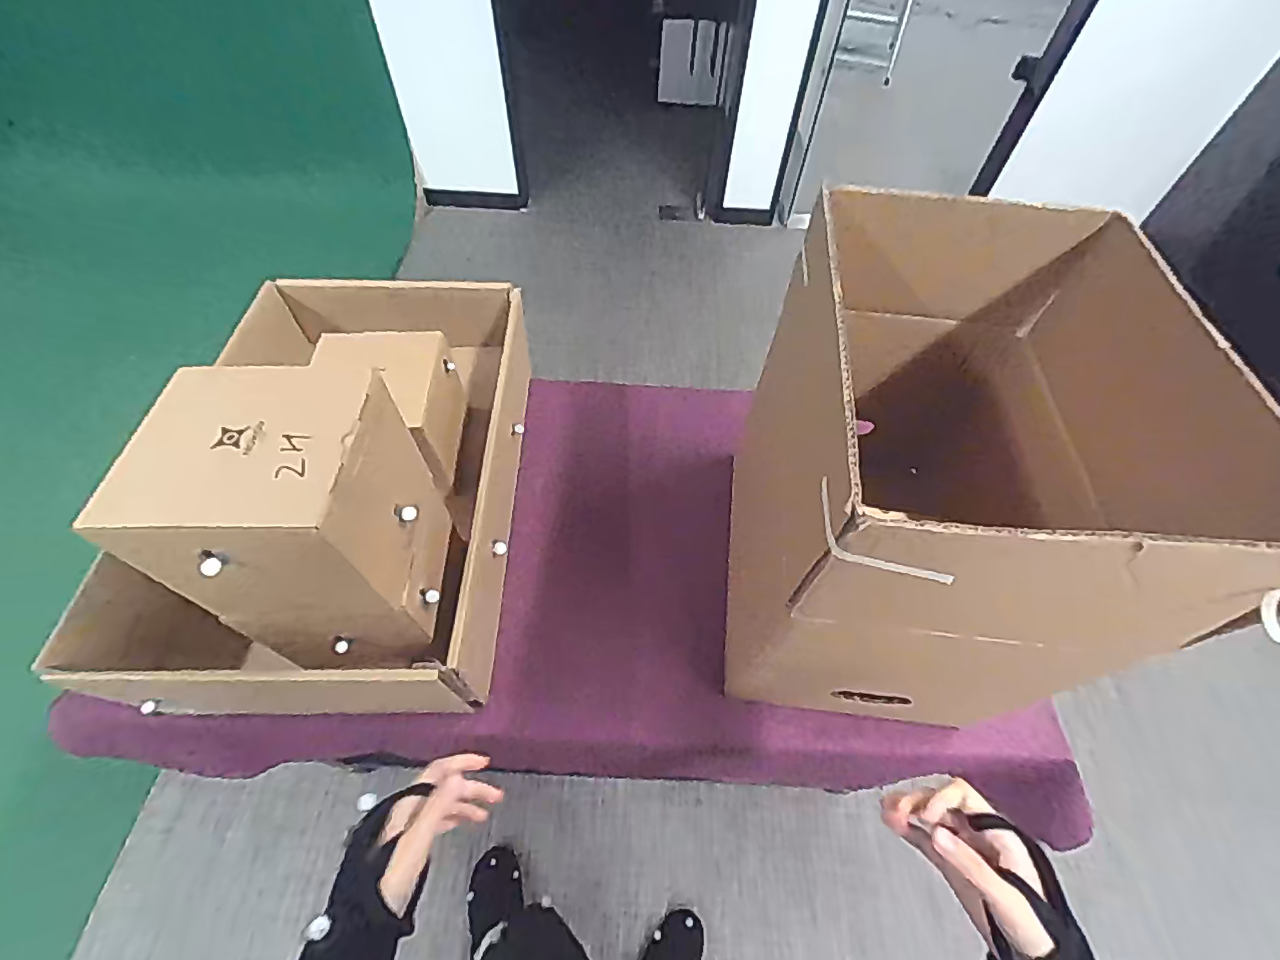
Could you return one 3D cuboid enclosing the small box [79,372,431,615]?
[{"bbox_3d":[-0.320,0.019,0.500,0.179,0.176,0.168,0,56,-1],"label":"small box"}]

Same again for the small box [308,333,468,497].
[{"bbox_3d":[-0.354,-0.084,0.771,0.168,0.176,0.179,-2,56,-2],"label":"small box"}]
